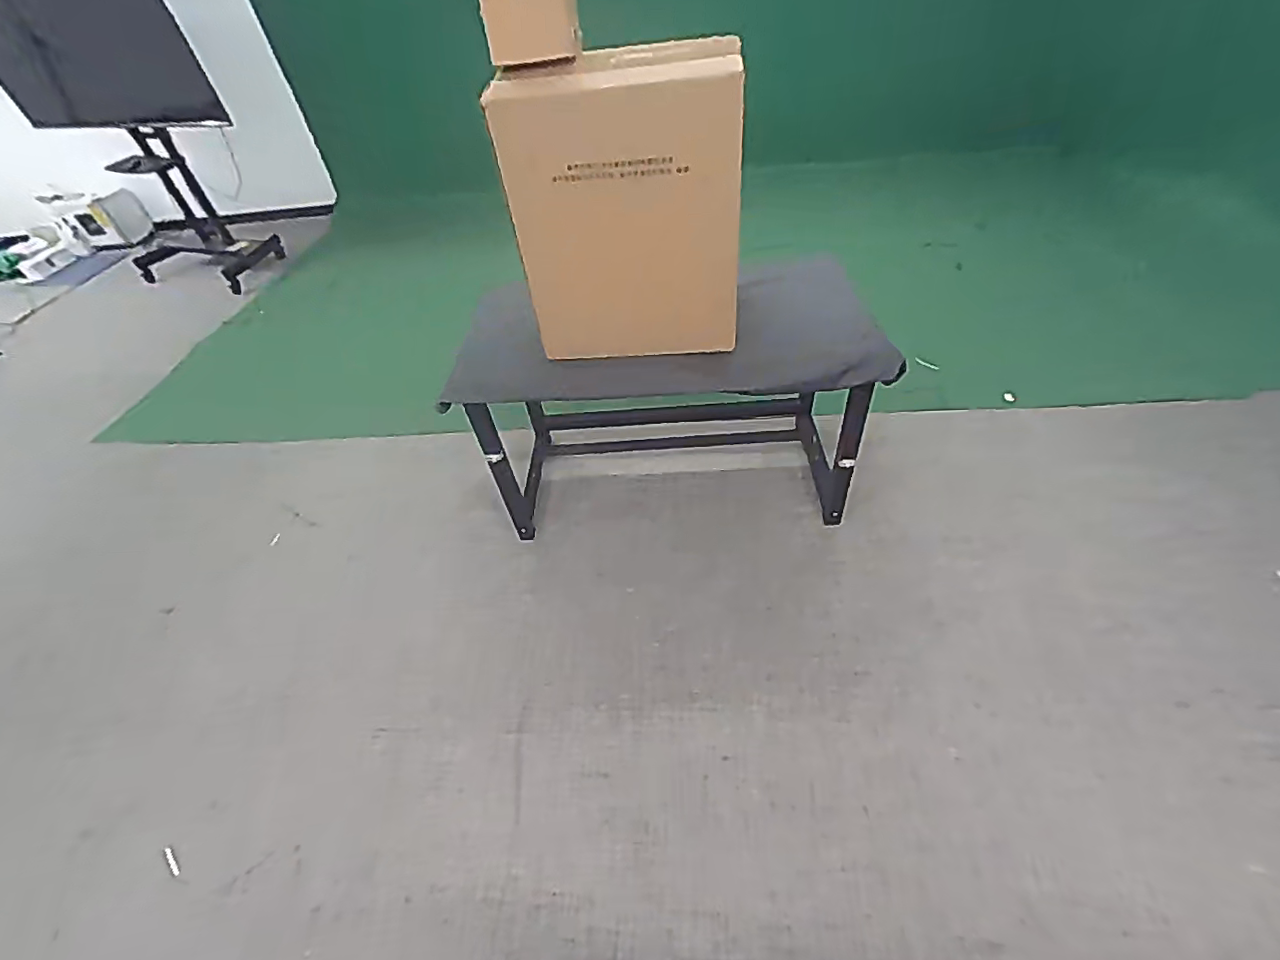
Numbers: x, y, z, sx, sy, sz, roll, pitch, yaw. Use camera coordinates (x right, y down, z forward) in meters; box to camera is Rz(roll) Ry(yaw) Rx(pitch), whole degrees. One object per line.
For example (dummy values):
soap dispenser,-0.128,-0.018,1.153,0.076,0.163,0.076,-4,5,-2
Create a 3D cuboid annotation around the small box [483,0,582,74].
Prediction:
small box,-0.229,-0.984,1.161,0.179,0.176,0.168,-1,39,3
